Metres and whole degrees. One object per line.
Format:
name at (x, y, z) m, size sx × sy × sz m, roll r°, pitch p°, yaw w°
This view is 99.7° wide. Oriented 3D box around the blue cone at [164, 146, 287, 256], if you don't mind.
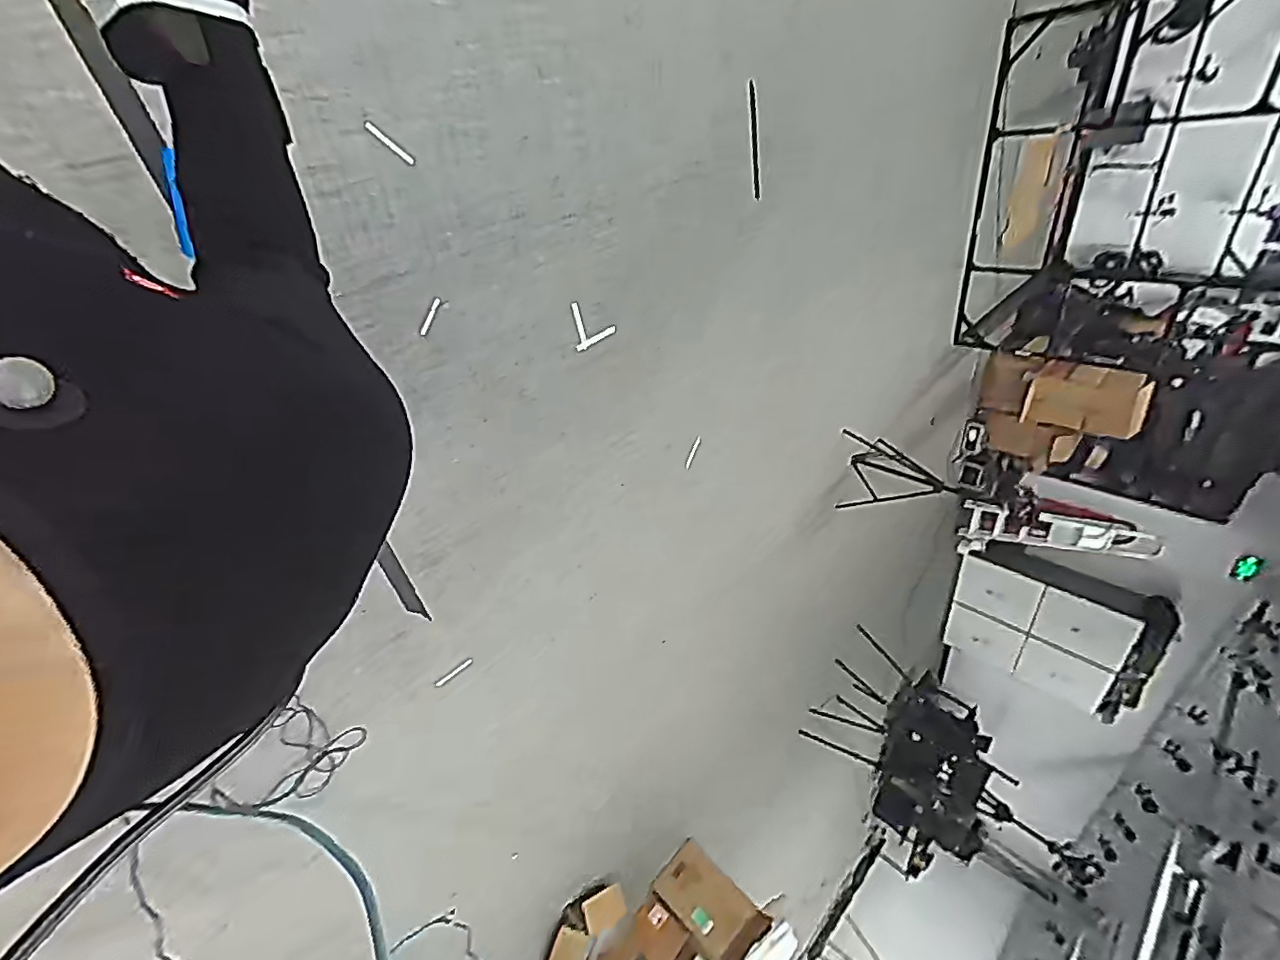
blue cone at (-0.732, -0.517, 1.008) m, size 0.193 × 0.380 × 0.192 m, roll -14°, pitch 118°, yaw -42°
